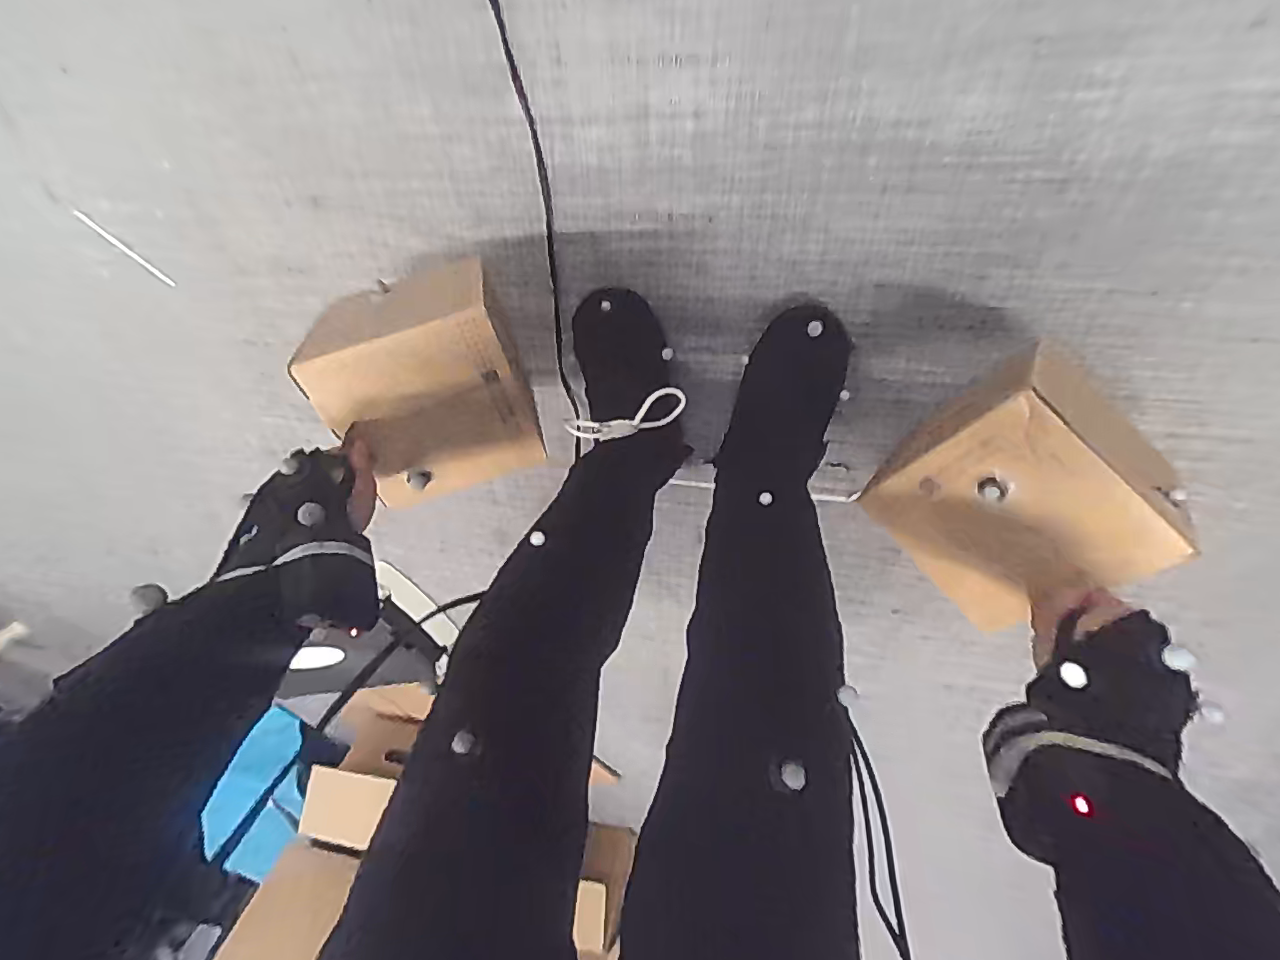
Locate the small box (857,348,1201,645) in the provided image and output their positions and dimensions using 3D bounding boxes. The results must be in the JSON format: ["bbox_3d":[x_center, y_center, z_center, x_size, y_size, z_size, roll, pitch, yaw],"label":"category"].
[{"bbox_3d":[0.330,0.008,0.487,0.176,0.179,0.168,46,134,3],"label":"small box"}]
